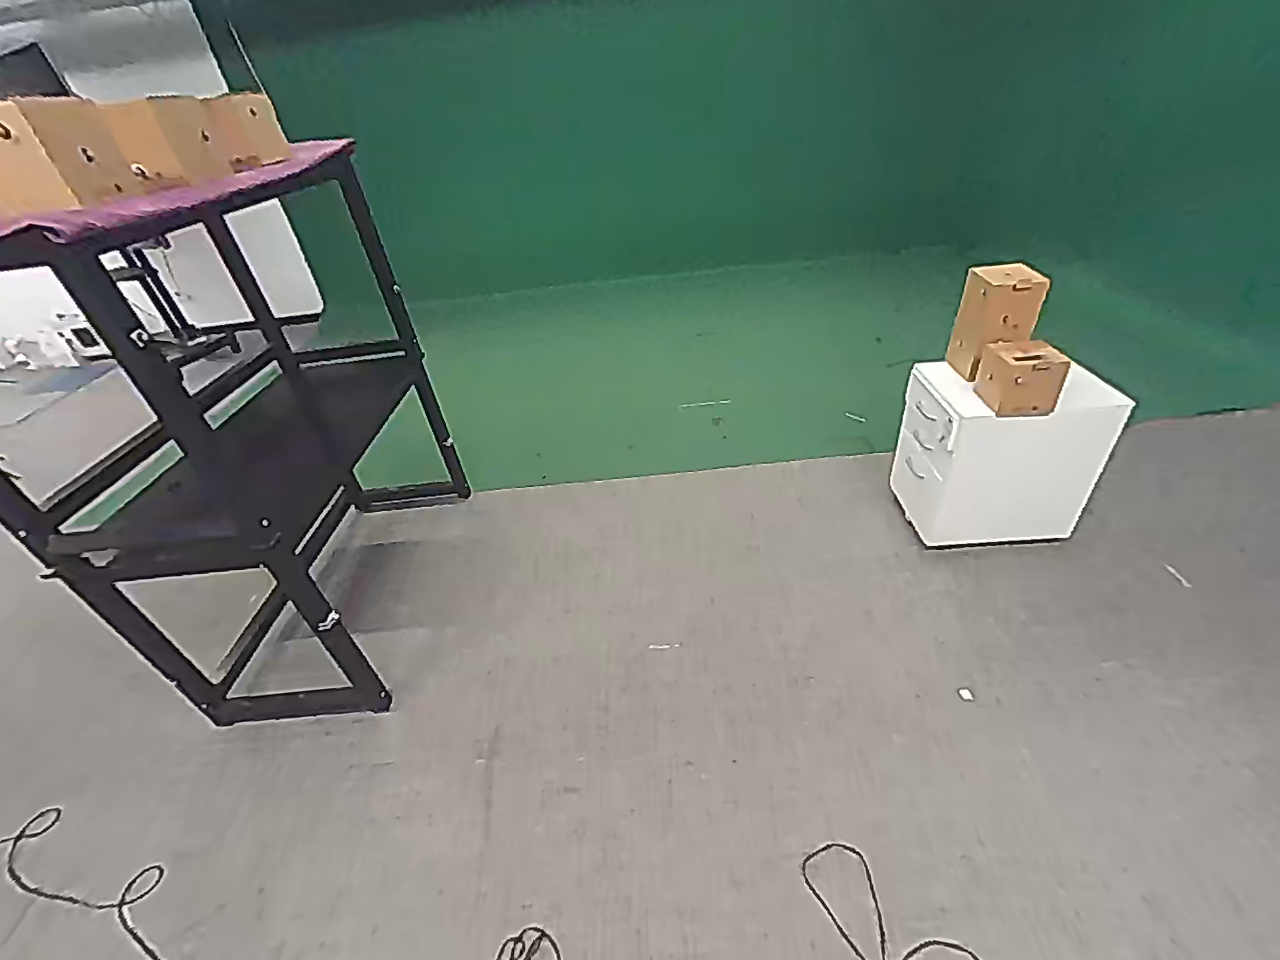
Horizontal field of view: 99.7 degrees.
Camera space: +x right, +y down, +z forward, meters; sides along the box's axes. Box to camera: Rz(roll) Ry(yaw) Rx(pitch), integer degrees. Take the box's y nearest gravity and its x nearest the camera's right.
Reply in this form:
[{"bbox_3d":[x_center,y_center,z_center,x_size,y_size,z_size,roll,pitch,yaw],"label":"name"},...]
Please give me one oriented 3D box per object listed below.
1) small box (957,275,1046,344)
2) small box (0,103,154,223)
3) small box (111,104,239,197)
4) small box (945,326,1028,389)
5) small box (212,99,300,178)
[{"bbox_3d":[1.181,-0.563,1.786,0.168,0.176,0.179,-3,38,5],"label":"small box"},{"bbox_3d":[-1.080,-0.591,1.007,0.179,0.176,0.168,-6,34,2],"label":"small box"},{"bbox_3d":[-1.095,-0.774,1.271,0.168,0.176,0.179,-6,36,2],"label":"small box"},{"bbox_3d":[1.195,-0.432,1.882,0.168,0.176,0.179,-4,36,4],"label":"small box"},{"bbox_3d":[-1.125,-0.976,1.554,0.168,0.176,0.179,-6,36,5],"label":"small box"}]
